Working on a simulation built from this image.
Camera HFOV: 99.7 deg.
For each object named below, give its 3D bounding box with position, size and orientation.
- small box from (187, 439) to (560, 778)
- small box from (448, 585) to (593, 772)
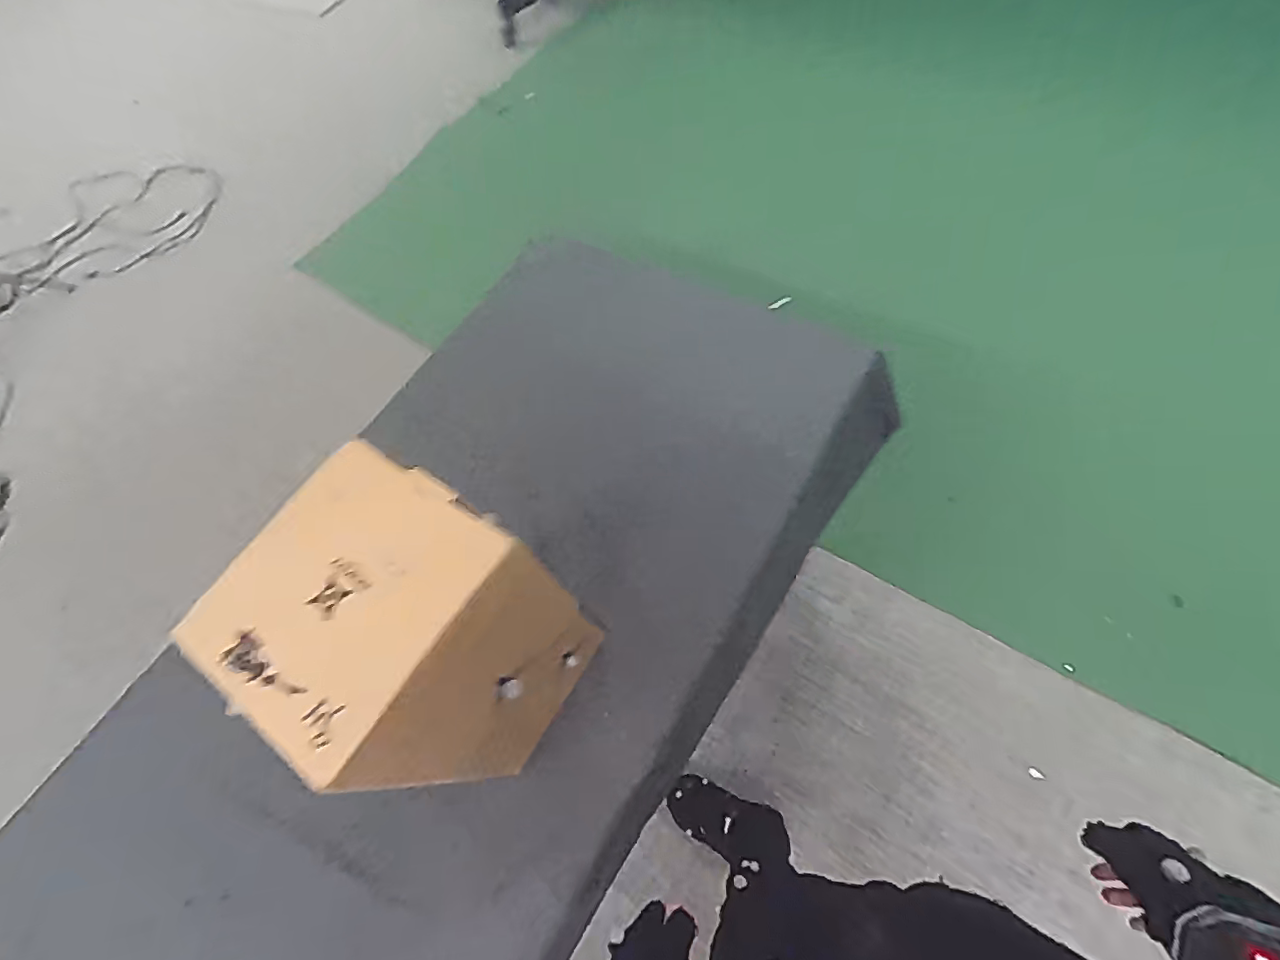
[{"bbox_3d":[-0.183,0.105,0.433,0.168,0.176,0.179,28,70,21],"label":"small box"},{"bbox_3d":[-0.166,0.178,0.579,0.168,0.176,0.179,26,72,20],"label":"small box"}]
